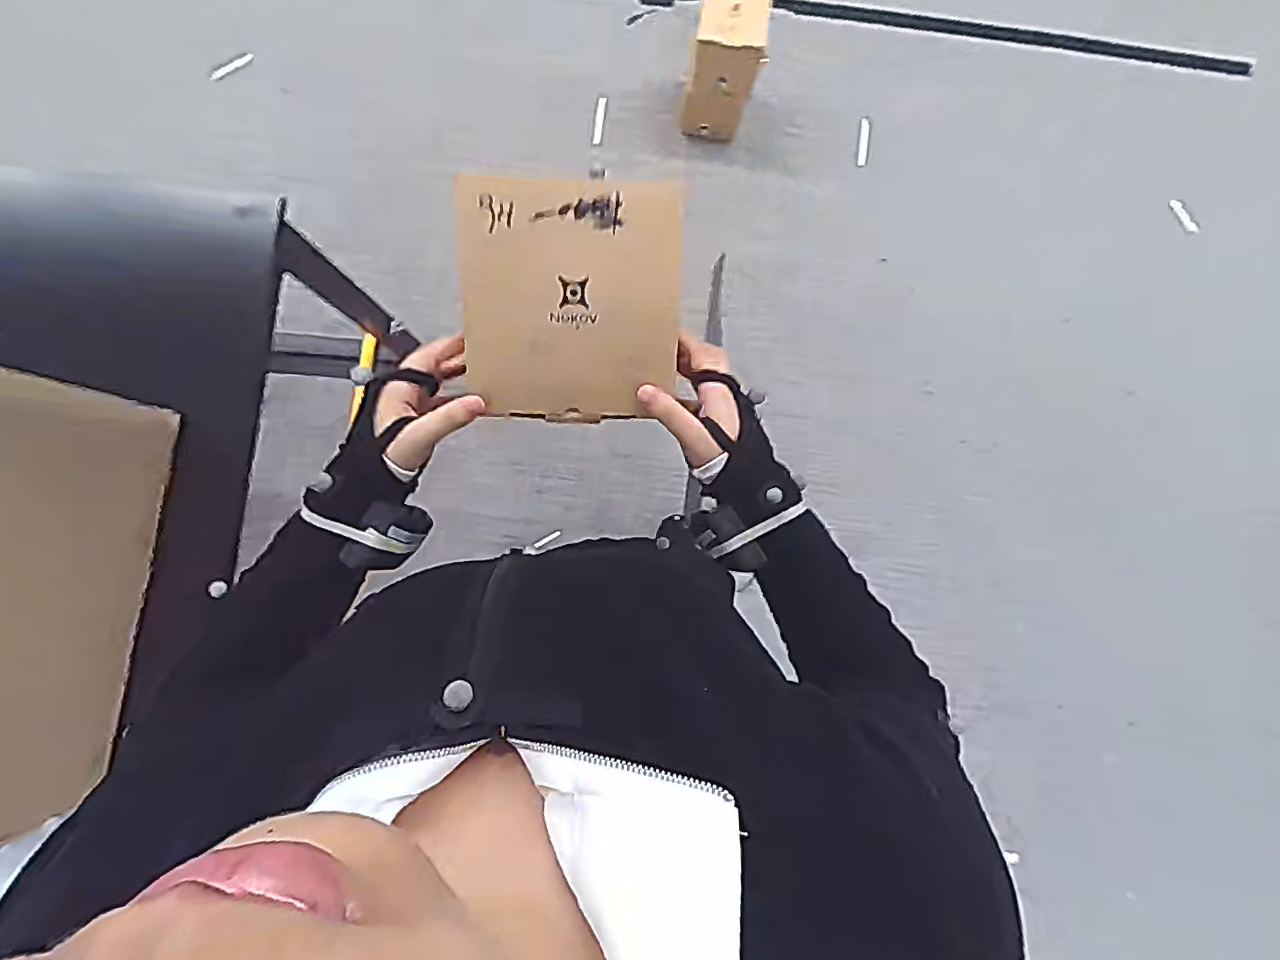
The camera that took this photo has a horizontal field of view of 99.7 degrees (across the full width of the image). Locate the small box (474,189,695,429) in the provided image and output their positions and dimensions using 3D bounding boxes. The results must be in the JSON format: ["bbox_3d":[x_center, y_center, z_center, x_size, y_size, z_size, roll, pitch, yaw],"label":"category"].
[{"bbox_3d":[-0.048,-0.150,0.497,0.168,0.176,0.179,0,106,-4],"label":"small box"}]

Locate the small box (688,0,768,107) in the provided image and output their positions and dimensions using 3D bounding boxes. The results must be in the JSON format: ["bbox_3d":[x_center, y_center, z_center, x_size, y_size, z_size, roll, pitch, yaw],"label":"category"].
[{"bbox_3d":[0.221,-1.111,1.388,0.168,0.176,0.179,7,85,-1],"label":"small box"}]

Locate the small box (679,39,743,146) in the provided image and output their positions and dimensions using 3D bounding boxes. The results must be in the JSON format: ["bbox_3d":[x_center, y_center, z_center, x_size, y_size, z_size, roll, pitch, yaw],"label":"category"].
[{"bbox_3d":[0.208,-1.106,1.553,0.168,0.176,0.179,6,86,-1],"label":"small box"}]
